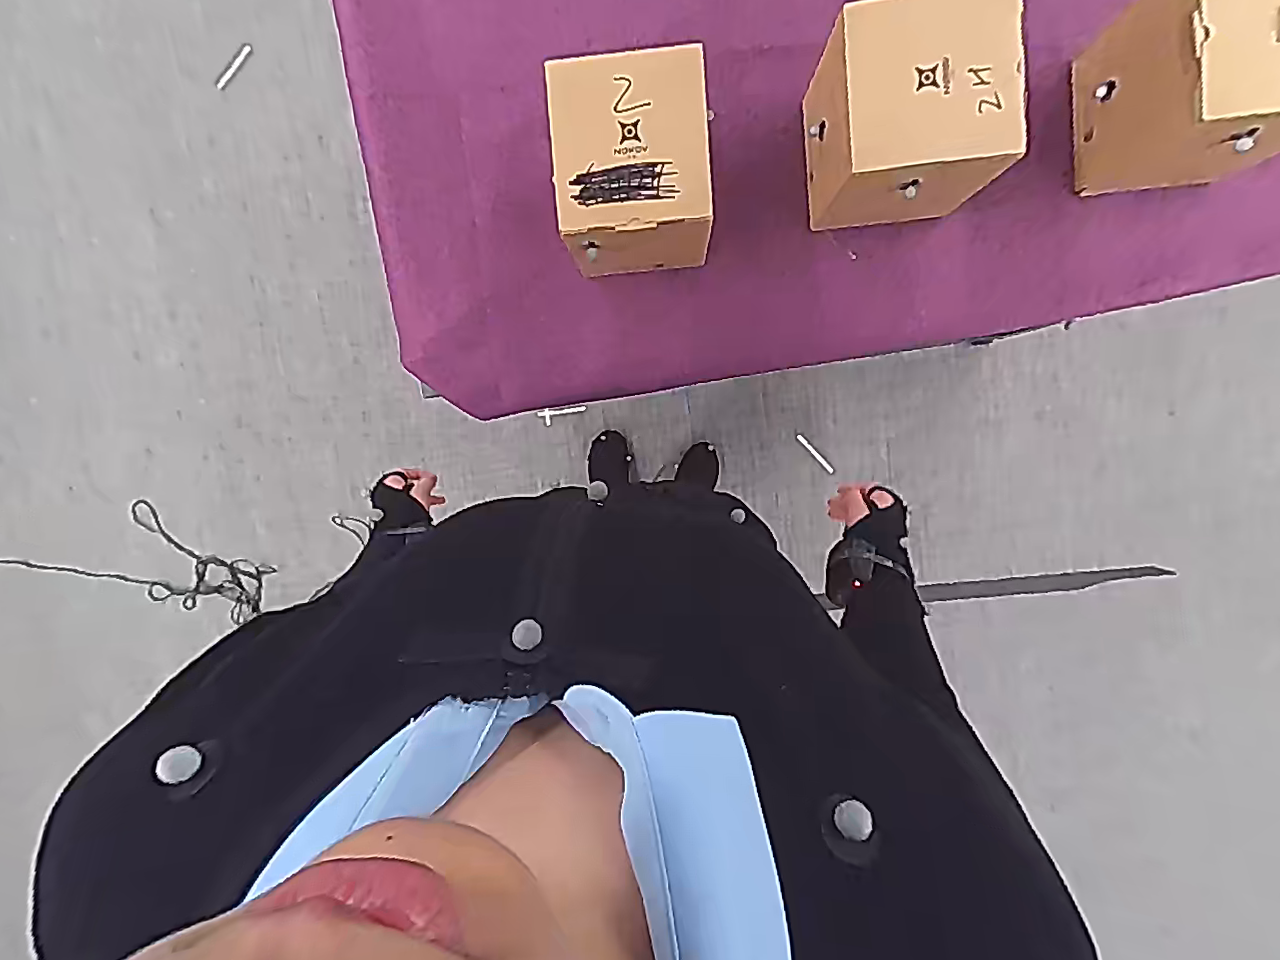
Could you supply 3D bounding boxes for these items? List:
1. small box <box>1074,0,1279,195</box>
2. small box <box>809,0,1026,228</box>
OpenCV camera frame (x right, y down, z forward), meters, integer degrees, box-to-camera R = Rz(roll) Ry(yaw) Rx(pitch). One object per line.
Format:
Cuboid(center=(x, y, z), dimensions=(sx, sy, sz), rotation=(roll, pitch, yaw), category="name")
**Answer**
Cuboid(center=(0.633, -0.441, 0.600), dimensions=(0.179, 0.176, 0.168), rotation=(-4, 94, 4), category="small box")
Cuboid(center=(0.300, -0.406, 0.620), dimensions=(0.179, 0.176, 0.168), rotation=(-4, 96, 3), category="small box")
